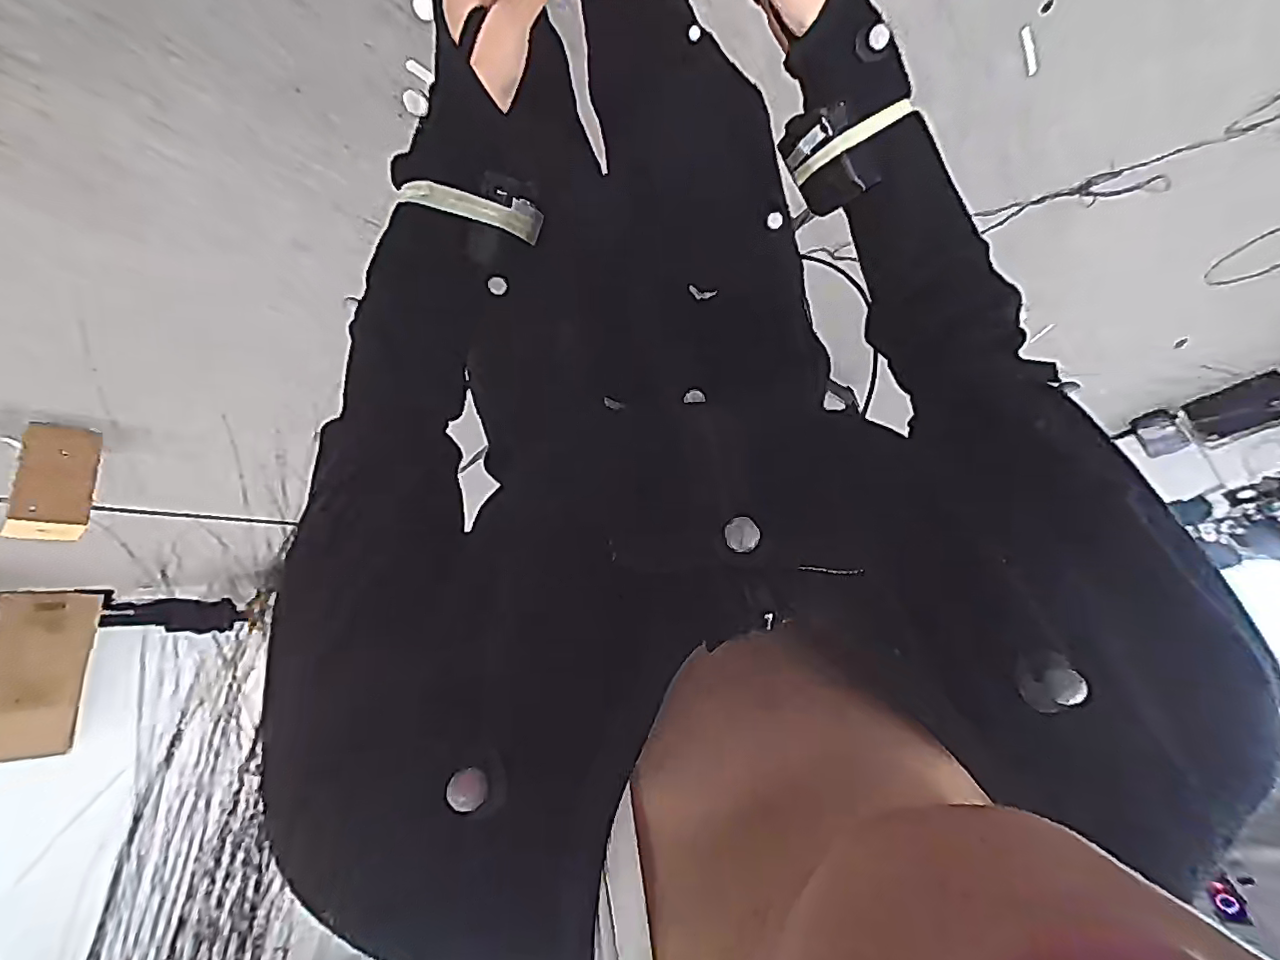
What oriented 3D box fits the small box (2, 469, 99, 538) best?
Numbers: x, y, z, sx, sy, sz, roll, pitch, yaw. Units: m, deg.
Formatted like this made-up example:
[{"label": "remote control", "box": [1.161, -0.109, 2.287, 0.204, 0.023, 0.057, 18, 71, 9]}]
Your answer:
[{"label": "small box", "box": [-1.891, 0.077, 1.738, 0.168, 0.176, 0.179, -25, 156, 33]}]
